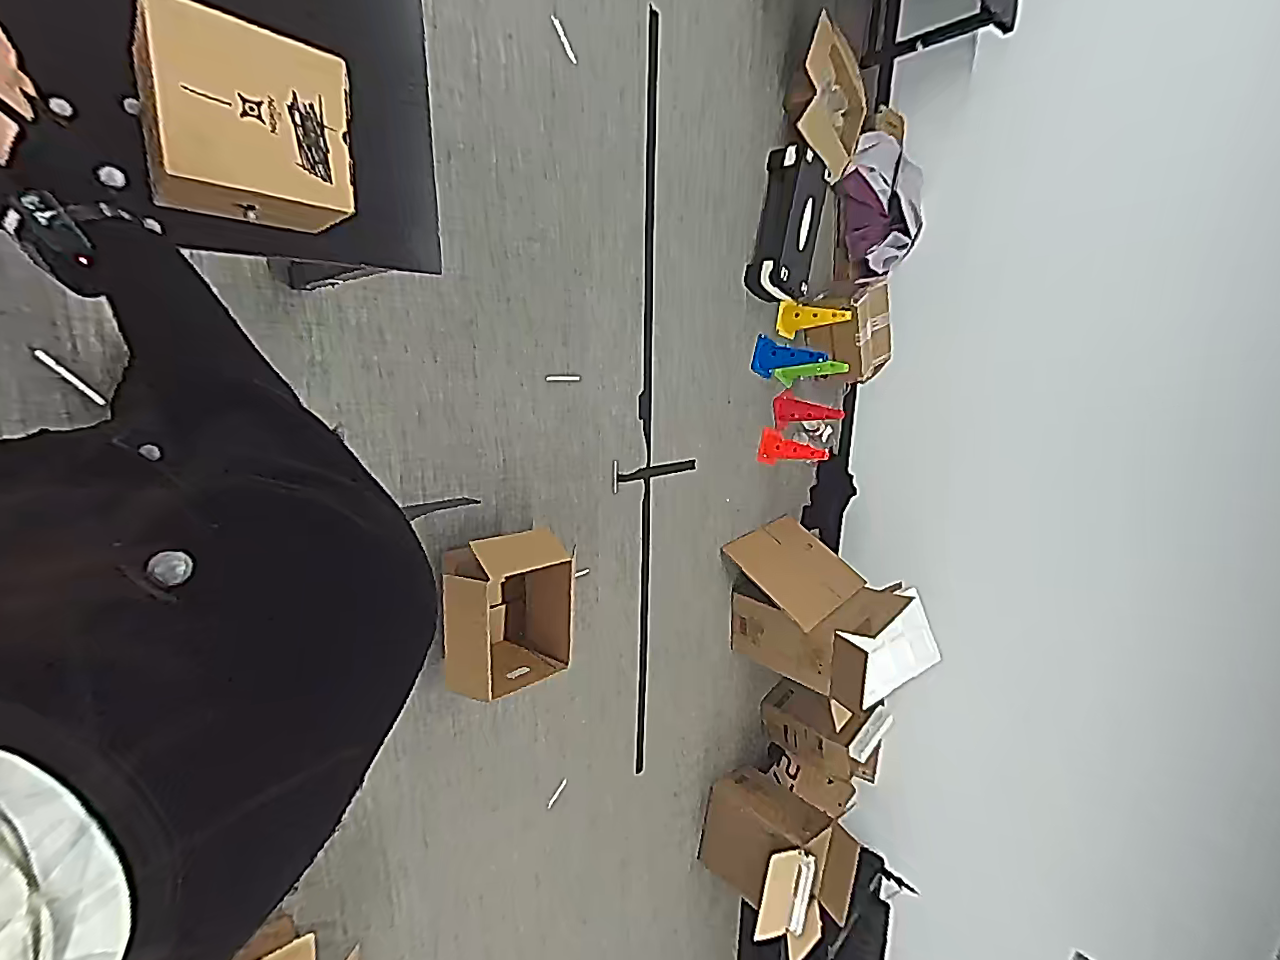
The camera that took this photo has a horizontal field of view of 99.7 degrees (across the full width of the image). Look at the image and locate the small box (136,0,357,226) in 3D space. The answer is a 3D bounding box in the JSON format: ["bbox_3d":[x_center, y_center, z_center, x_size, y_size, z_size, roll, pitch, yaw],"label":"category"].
[{"bbox_3d":[-0.453,-0.405,0.627,0.179,0.176,0.168,-10,106,-43],"label":"small box"}]
